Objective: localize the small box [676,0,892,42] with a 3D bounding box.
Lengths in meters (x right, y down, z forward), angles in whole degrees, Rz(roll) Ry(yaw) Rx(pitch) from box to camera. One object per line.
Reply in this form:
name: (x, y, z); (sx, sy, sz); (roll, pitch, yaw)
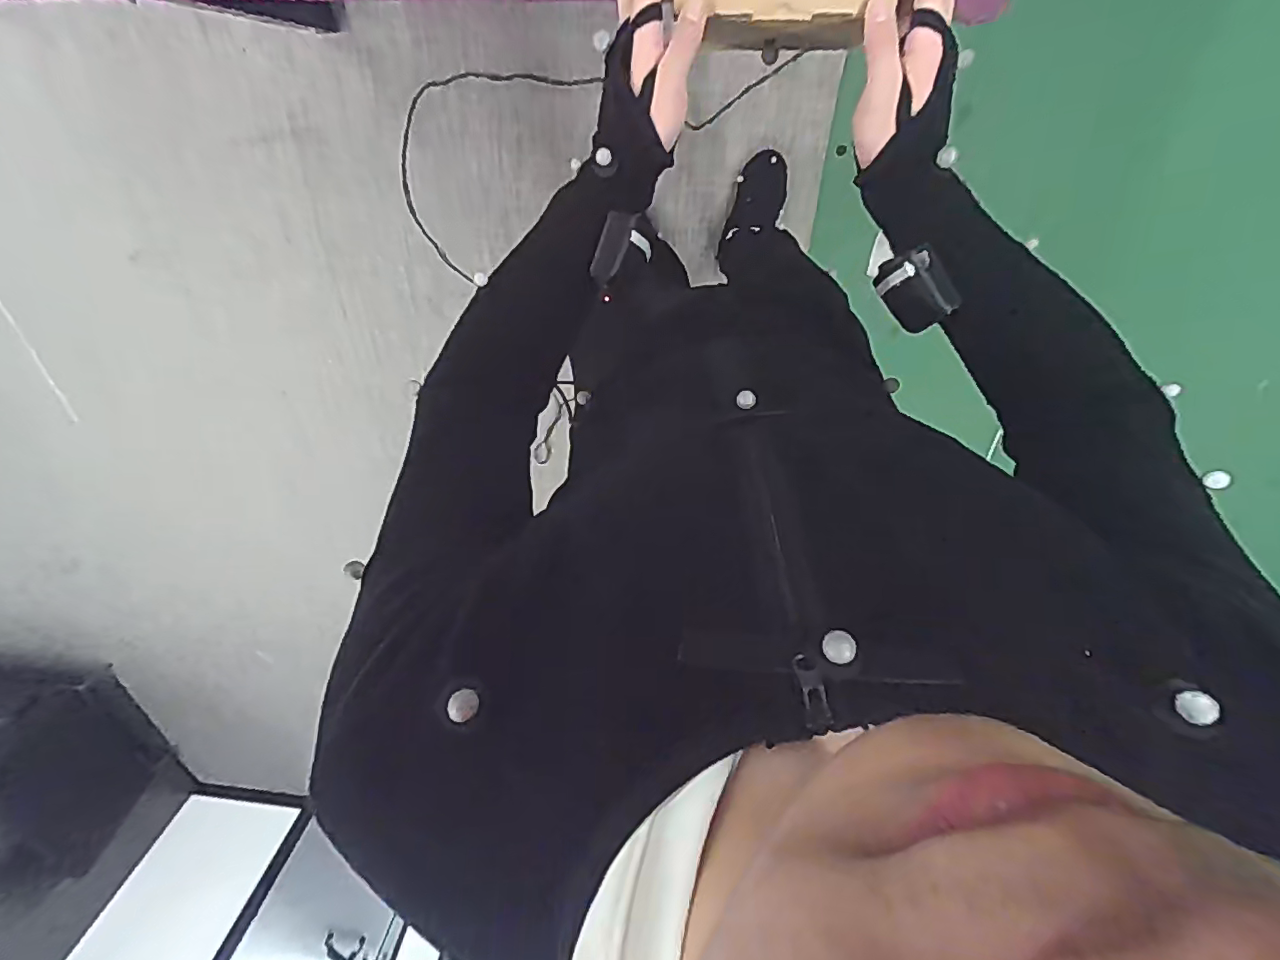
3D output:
small box: (0.118, -0.469, 0.424); (0.168, 0.176, 0.179); (6, 124, 7)
